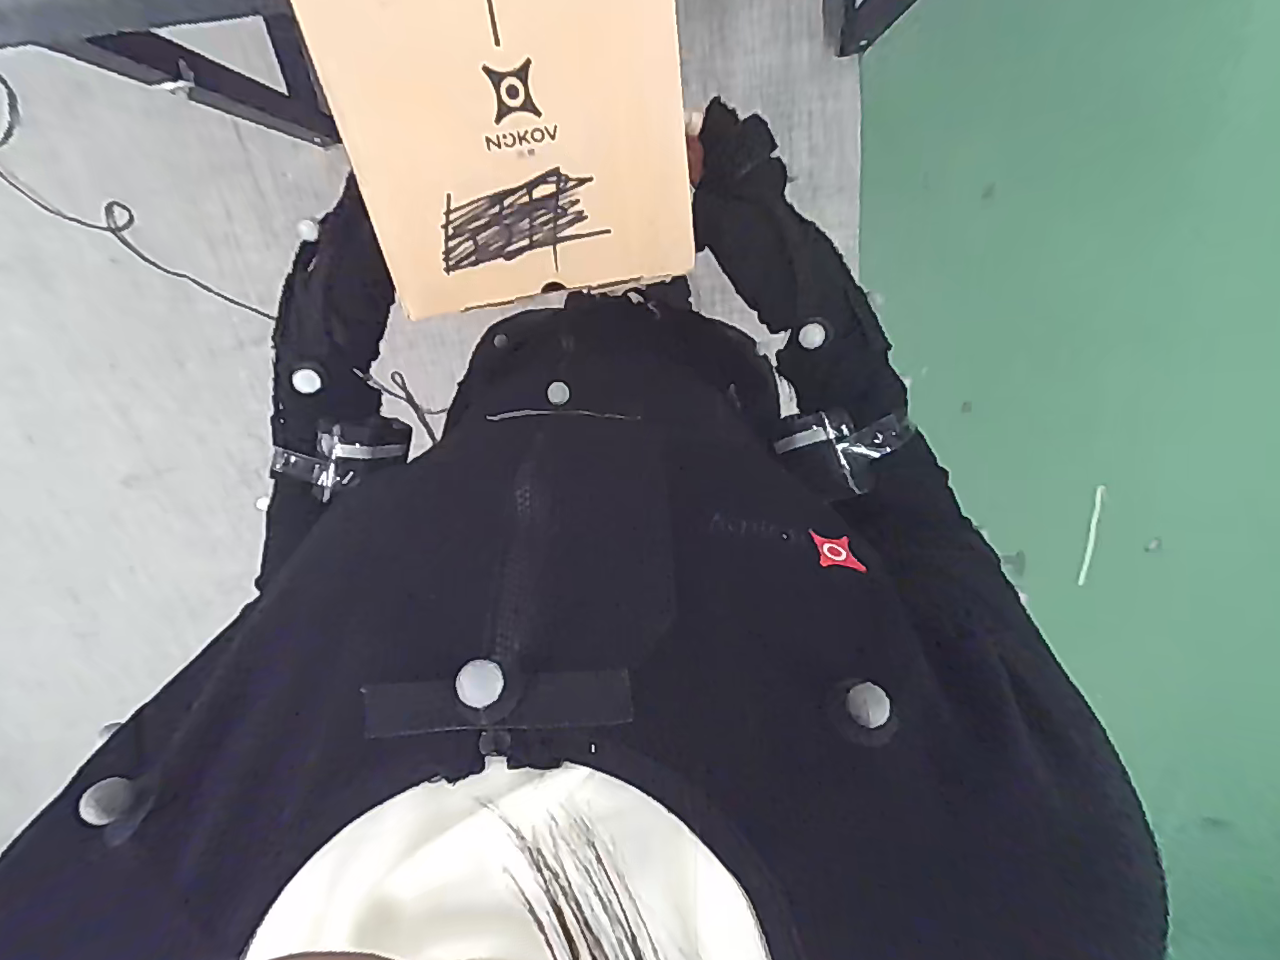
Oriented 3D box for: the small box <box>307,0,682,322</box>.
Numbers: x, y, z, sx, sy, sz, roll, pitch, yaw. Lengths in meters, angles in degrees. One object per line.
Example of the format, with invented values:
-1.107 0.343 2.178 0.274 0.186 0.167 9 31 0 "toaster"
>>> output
-0.072 -0.217 0.342 0.168 0.176 0.179 -10 121 -4 "small box"
